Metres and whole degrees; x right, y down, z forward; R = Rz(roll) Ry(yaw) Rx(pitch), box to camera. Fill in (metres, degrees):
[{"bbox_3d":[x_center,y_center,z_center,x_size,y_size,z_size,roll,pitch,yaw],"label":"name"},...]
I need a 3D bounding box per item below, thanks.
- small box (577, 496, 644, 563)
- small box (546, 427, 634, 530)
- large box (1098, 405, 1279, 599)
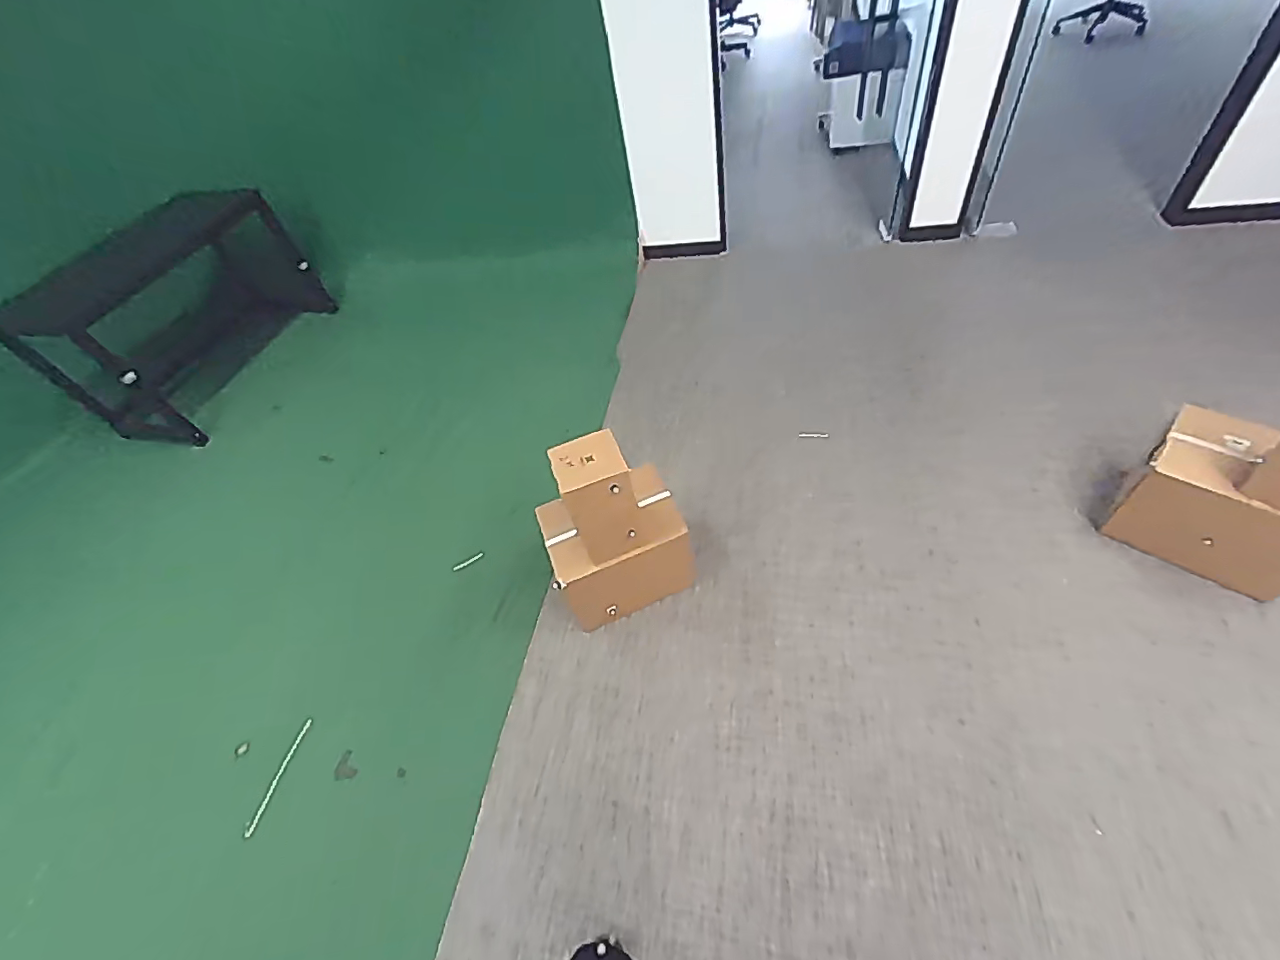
[{"bbox_3d":[-0.096,0.102,1.517,0.179,0.176,0.168,-22,50,-6],"label":"small box"},{"bbox_3d":[-0.122,0.000,1.390,0.179,0.176,0.168,-20,49,-5],"label":"small box"},{"bbox_3d":[1.634,0.057,1.516,0.408,0.320,0.320,30,61,32],"label":"large box"}]
